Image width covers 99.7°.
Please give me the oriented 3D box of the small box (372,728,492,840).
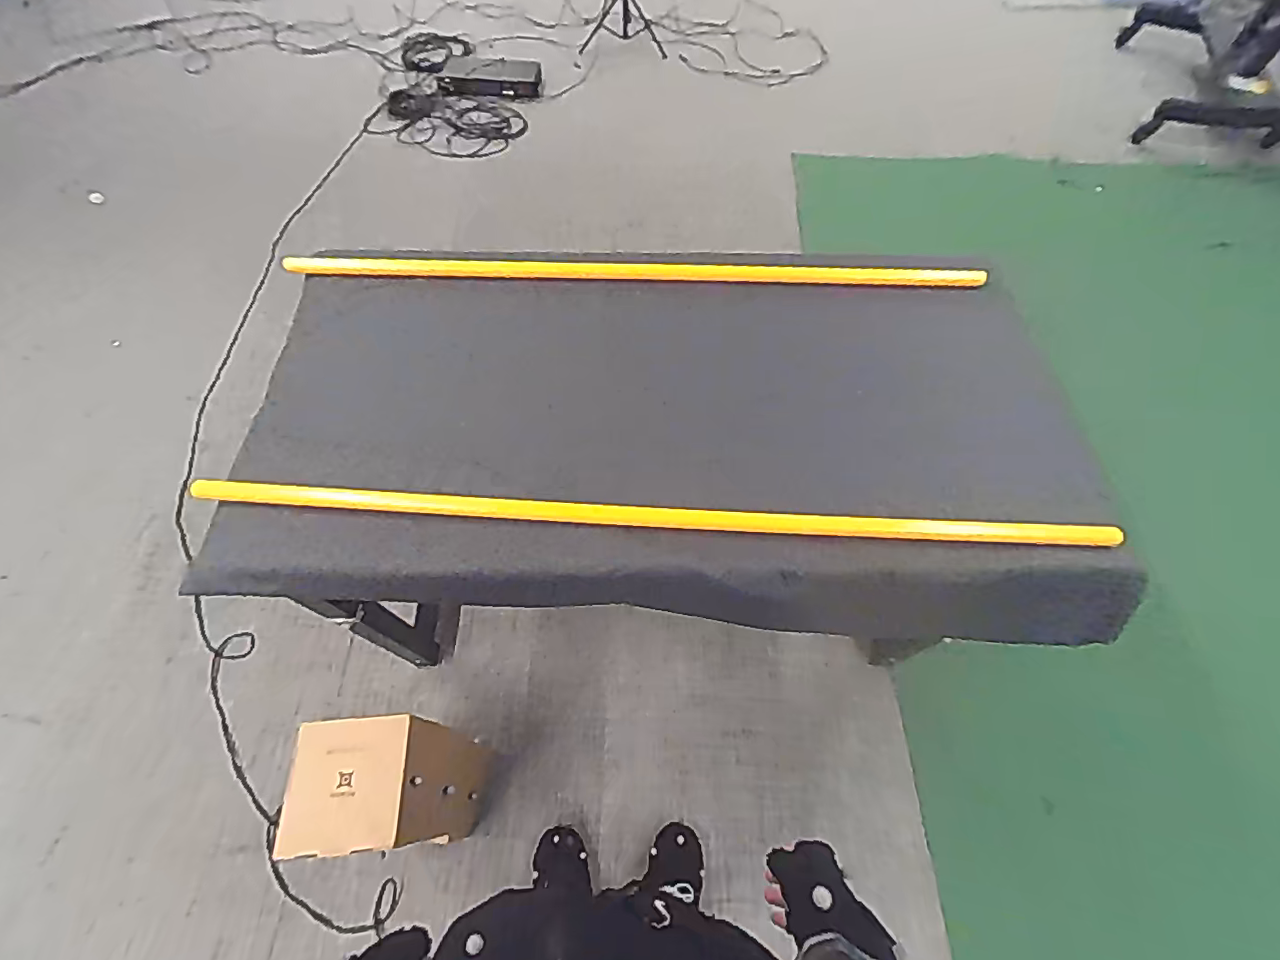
[{"bbox_3d":[-0.423,0.635,1.138,0.168,0.176,0.179,7,62,4],"label":"small box"}]
